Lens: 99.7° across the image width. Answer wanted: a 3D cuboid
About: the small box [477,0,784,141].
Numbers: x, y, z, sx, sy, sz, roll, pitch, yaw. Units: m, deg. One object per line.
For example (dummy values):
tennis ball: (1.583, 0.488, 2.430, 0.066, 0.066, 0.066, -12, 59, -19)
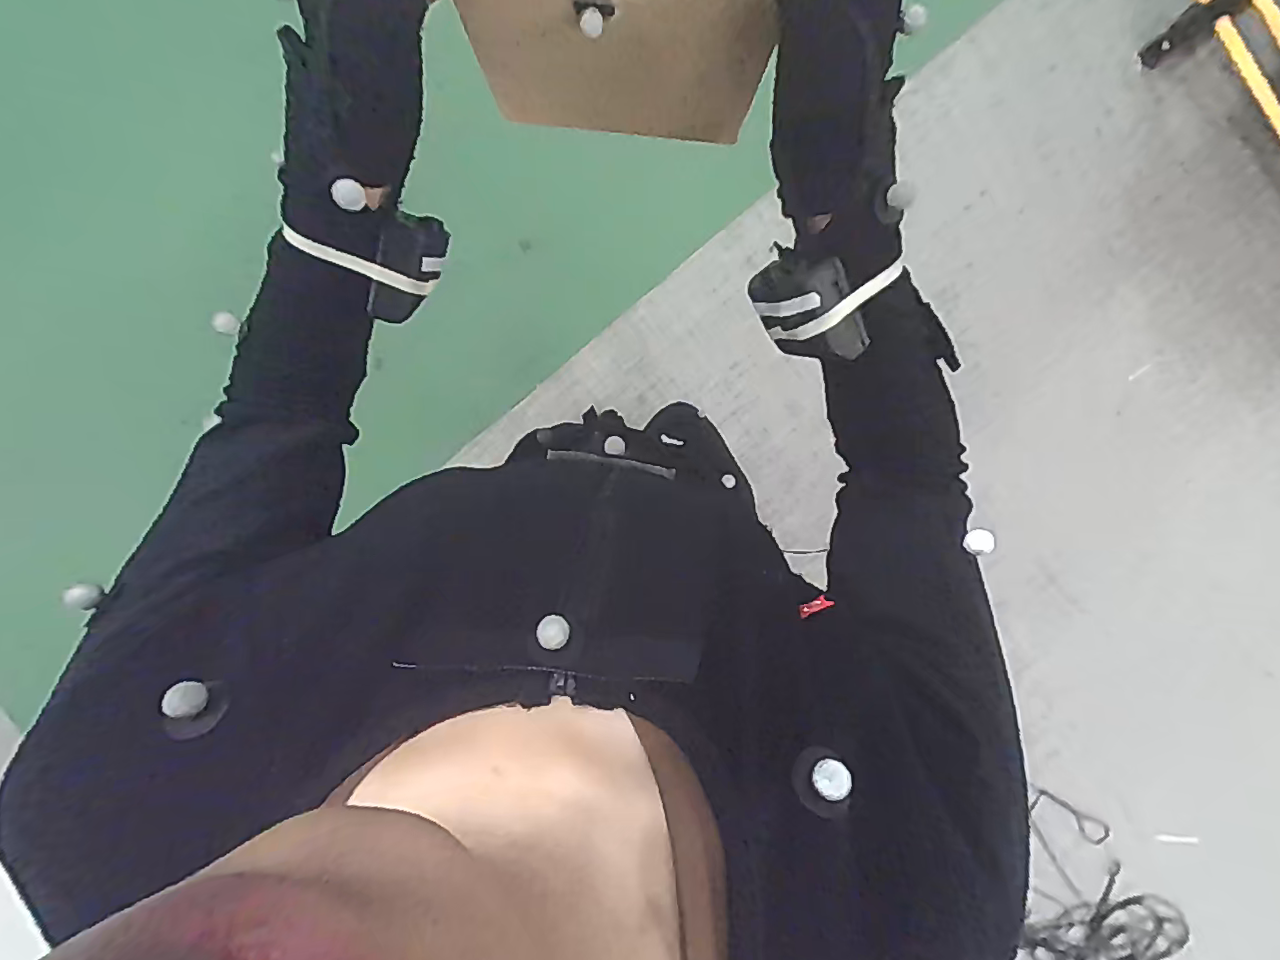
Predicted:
small box: (-0.003, -0.328, 0.315, 0.179, 0.176, 0.168, 5, 97, -2)
